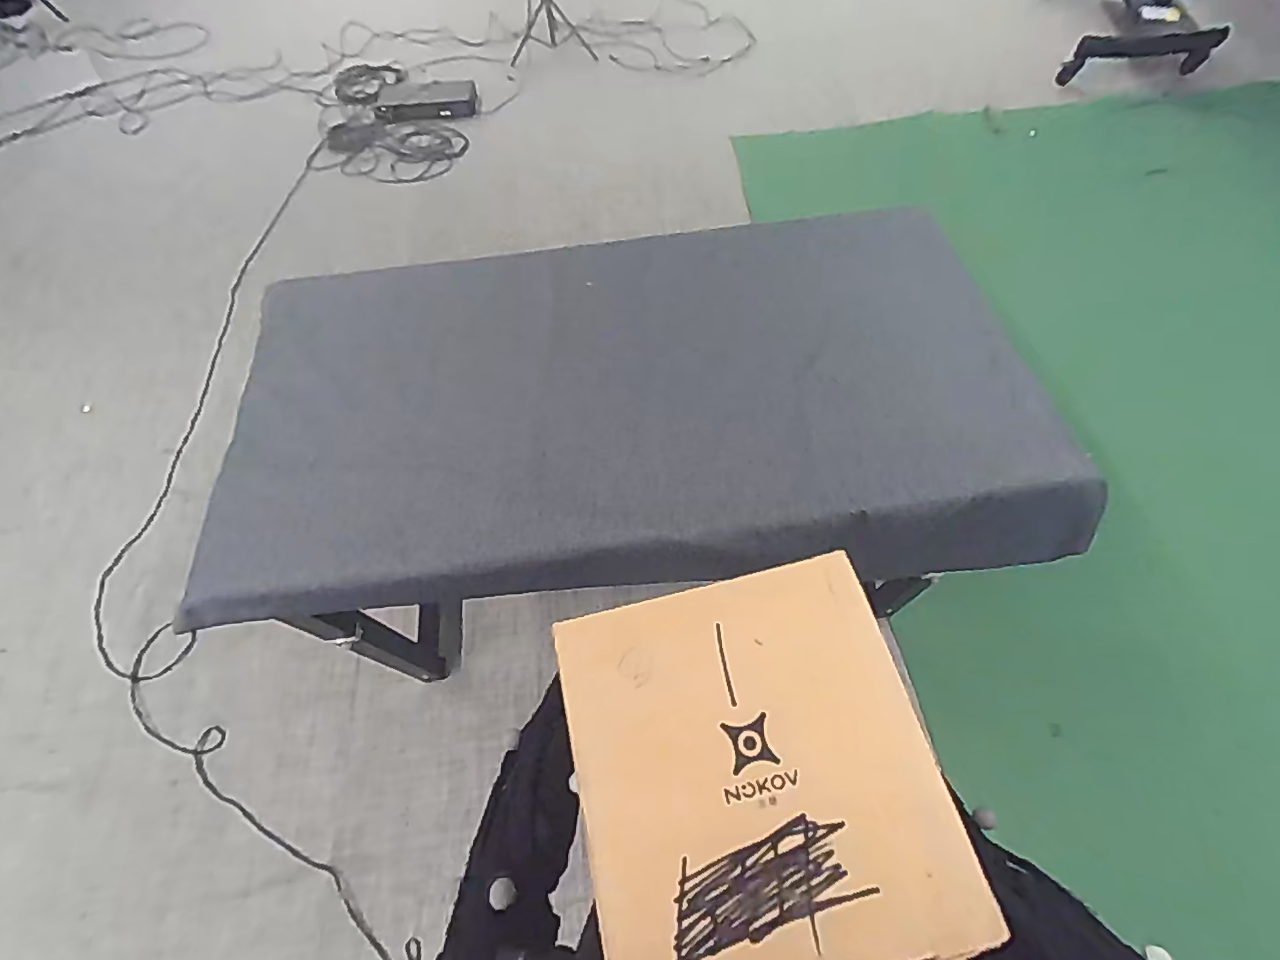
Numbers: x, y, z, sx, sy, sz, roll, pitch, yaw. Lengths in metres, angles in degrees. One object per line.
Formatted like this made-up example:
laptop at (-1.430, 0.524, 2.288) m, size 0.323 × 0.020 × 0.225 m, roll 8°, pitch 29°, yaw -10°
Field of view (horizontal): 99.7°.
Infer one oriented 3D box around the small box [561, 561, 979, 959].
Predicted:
small box at (0.057, 0.170, 0.338) m, size 0.168 × 0.176 × 0.179 m, roll -12°, pitch 65°, yaw -3°
